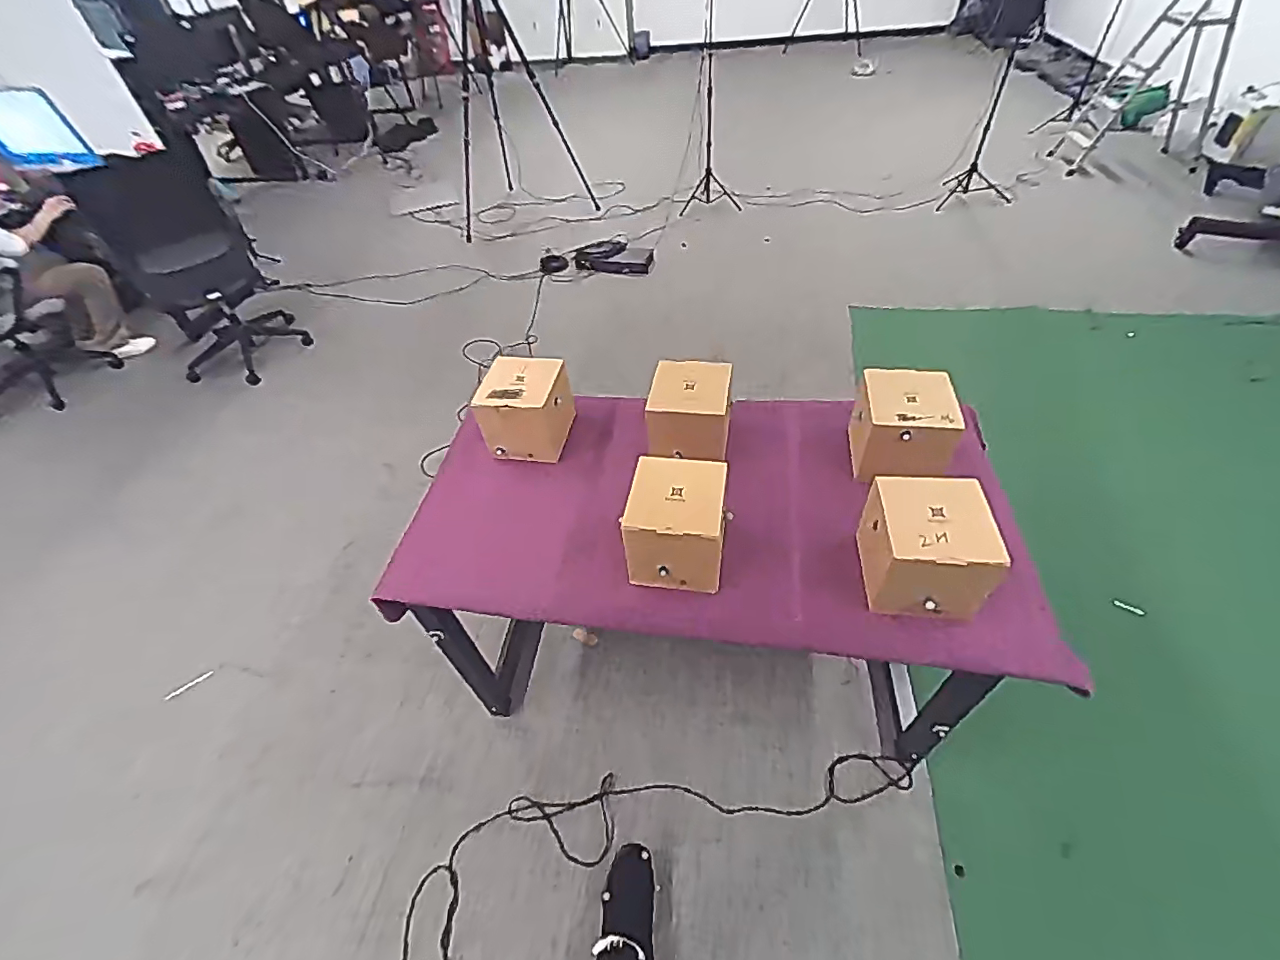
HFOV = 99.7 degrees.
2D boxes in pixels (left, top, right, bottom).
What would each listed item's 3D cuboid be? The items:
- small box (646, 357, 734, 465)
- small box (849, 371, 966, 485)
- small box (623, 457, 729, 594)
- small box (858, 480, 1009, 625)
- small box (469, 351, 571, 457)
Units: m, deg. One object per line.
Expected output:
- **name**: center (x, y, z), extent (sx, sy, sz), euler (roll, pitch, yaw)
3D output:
- **small box**: center (0.112, -0.146, 1.193), extent (0.168, 0.176, 0.179), euler (6, 50, 11)
- **small box**: center (0.540, -0.102, 1.119), extent (0.168, 0.176, 0.179), euler (5, 49, 10)
- **small box**: center (0.069, 0.083, 0.992), extent (0.168, 0.176, 0.179), euler (6, 49, 9)
- **small box**: center (0.481, 0.123, 0.920), extent (0.168, 0.176, 0.179), euler (3, 49, 9)
- **small box**: center (-0.263, -0.172, 1.238), extent (0.168, 0.176, 0.179), euler (6, 50, 8)
